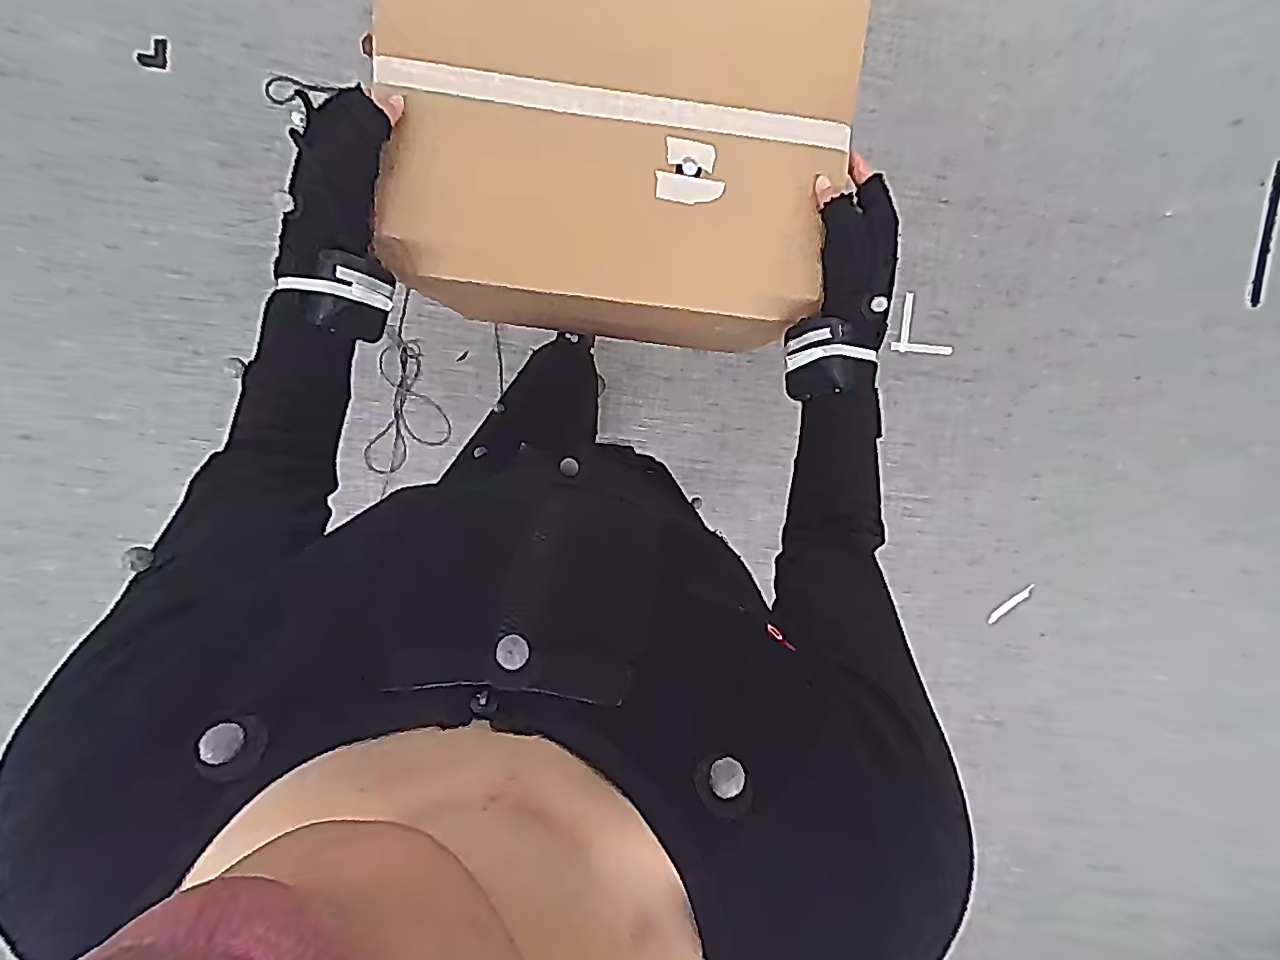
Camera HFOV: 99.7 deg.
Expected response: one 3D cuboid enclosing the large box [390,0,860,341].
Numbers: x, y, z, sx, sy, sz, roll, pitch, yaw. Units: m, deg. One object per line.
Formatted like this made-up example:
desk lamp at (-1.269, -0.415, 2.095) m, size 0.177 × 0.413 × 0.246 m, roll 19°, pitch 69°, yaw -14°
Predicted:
large box at (-0.025, -0.350, 0.625) m, size 0.408 × 0.320 × 0.320 m, roll 6°, pitch 99°, yaw -4°
